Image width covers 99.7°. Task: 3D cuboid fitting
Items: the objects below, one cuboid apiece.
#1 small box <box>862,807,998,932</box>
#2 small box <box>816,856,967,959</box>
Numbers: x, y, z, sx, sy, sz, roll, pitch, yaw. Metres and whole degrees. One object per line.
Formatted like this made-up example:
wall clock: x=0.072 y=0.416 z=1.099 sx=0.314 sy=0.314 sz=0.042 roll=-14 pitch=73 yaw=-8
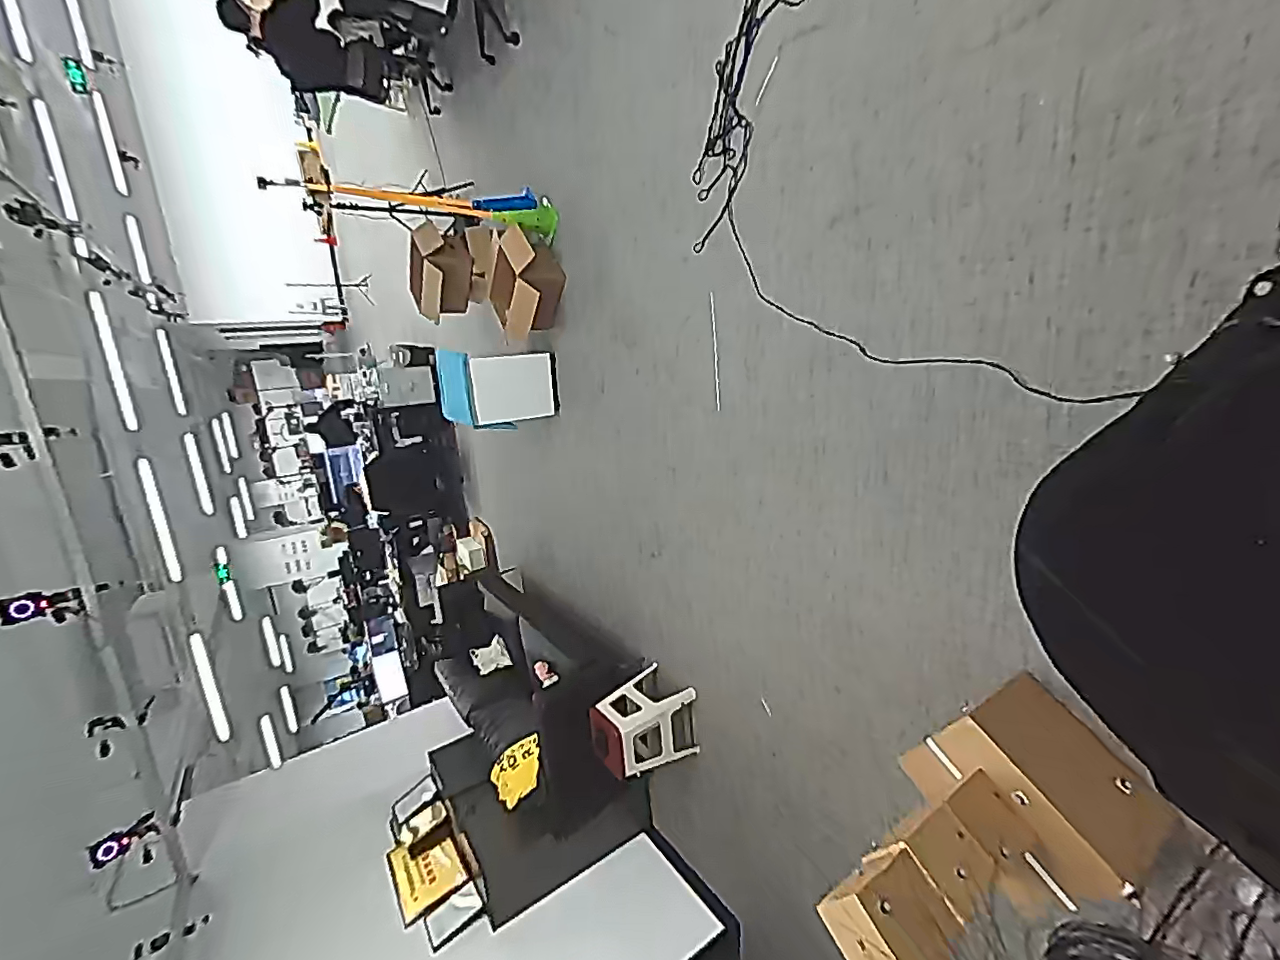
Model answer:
small box: x=0.632 y=0.850 z=1.174 sx=0.168 sy=0.176 sz=0.179 roll=53 pitch=142 yaw=33
small box: x=0.499 y=0.893 z=1.085 sx=0.179 sy=0.176 sz=0.168 roll=54 pitch=143 yaw=31
